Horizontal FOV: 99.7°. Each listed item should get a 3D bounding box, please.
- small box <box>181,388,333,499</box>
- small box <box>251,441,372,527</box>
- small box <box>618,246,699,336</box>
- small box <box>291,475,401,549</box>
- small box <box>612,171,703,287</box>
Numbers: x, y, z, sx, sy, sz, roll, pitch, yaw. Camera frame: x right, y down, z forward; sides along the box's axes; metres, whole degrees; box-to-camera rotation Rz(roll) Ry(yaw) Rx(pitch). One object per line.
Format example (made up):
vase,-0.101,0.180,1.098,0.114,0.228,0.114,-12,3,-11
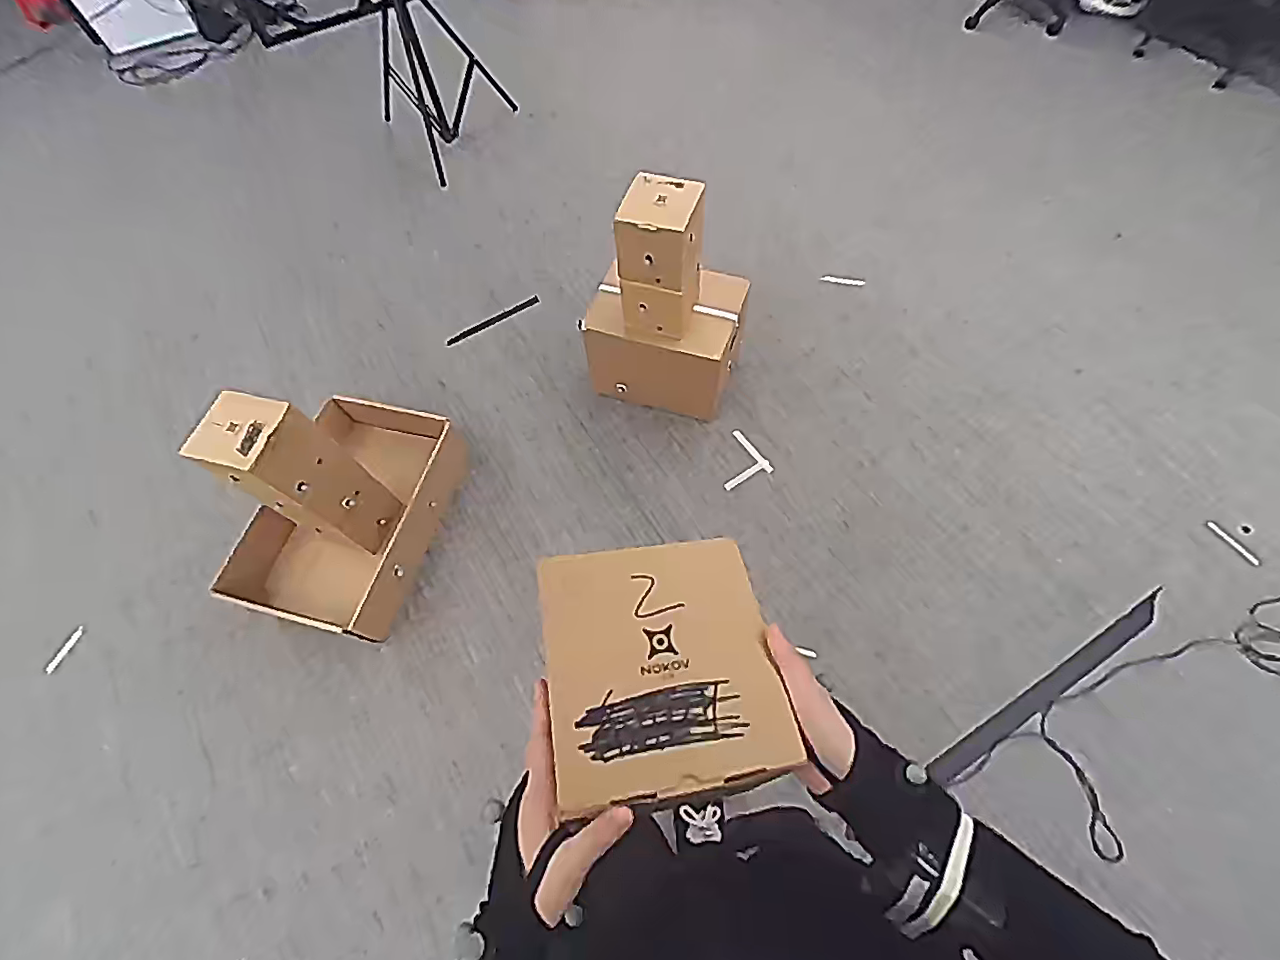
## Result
small box,-0.821,-0.074,1.183,0.179,0.176,0.168,12,65,11
small box,-0.807,-0.001,1.330,0.179,0.176,0.168,14,66,9
small box,0.053,-0.510,1.429,0.168,0.176,0.179,16,65,11
small box,-0.797,0.073,1.474,0.179,0.176,0.168,15,66,10
small box,0.045,-0.592,1.286,0.168,0.176,0.179,17,66,10
